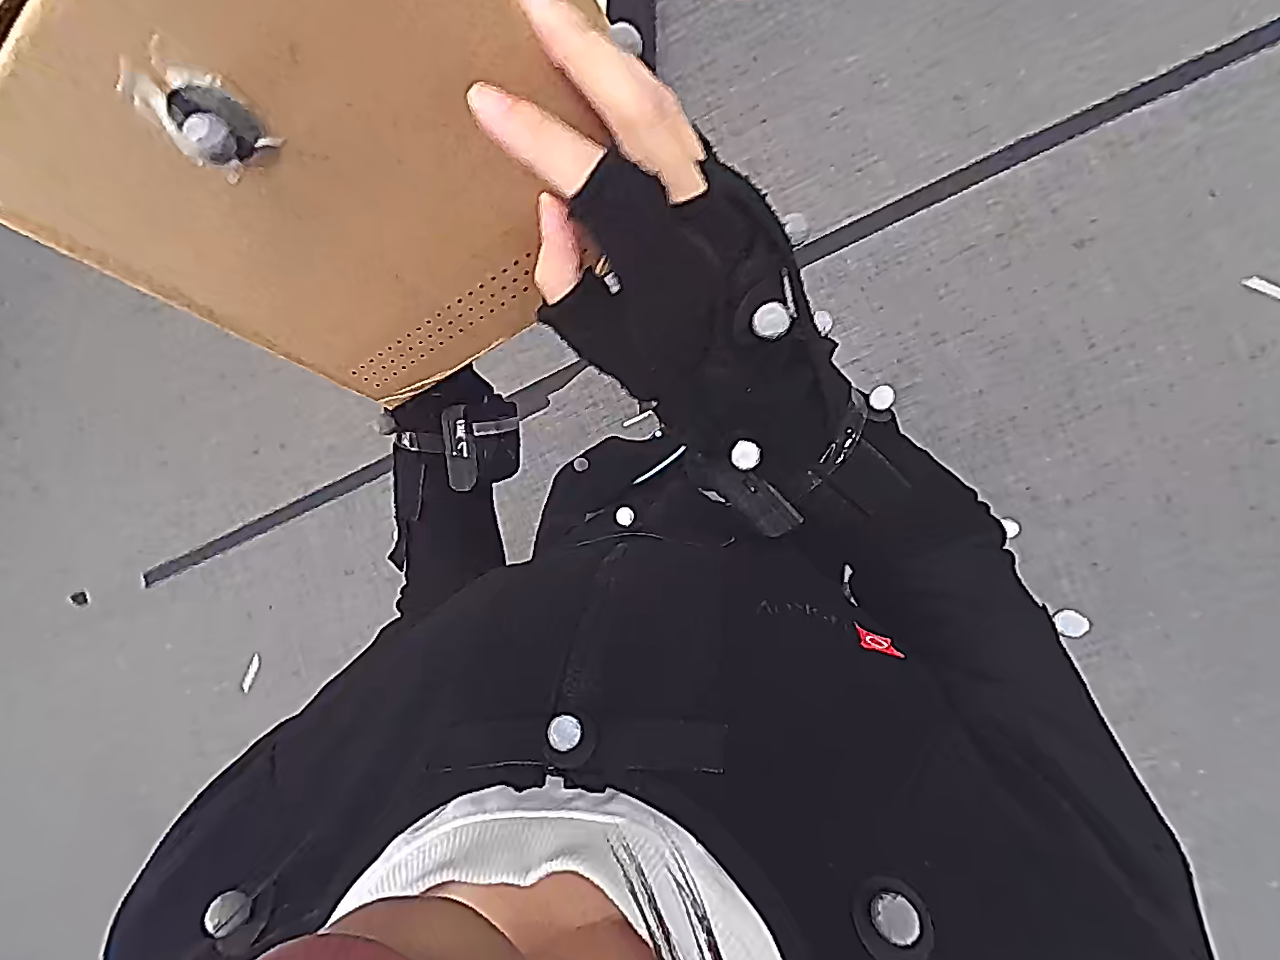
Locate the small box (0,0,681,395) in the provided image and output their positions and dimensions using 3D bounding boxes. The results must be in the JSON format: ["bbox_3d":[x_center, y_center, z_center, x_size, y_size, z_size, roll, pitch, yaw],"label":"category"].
[{"bbox_3d":[-0.106,-0.163,0.230,0.179,0.176,0.168,-23,62,21],"label":"small box"}]
